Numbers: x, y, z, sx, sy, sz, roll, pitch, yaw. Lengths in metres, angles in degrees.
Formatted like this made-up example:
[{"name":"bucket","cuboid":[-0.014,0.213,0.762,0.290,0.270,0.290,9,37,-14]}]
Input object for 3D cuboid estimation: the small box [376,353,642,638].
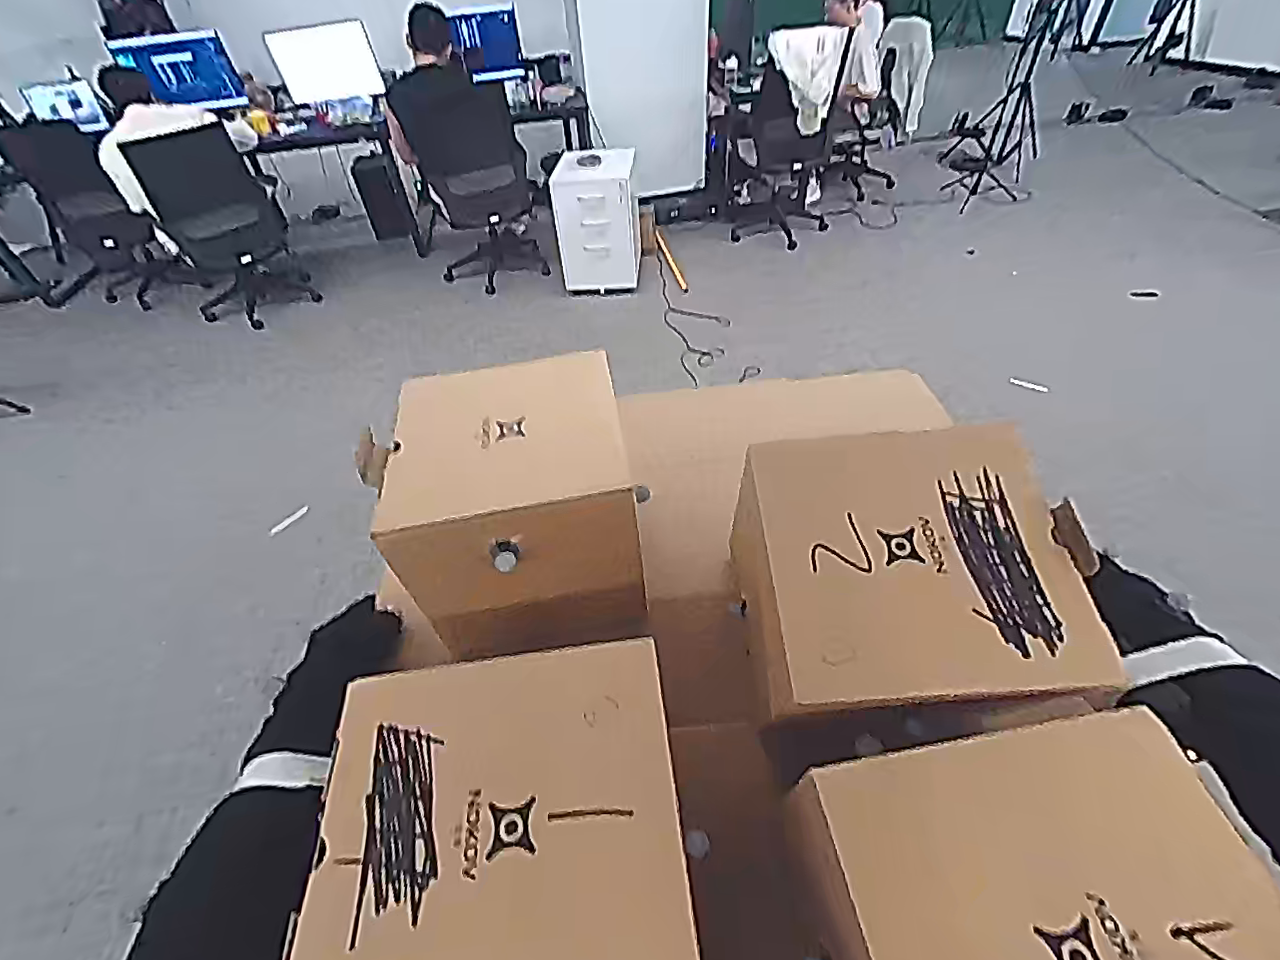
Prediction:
[{"name":"small box","cuboid":[-0.096,0.016,0.475,0.179,0.176,0.168,-11,46,-2]}]
